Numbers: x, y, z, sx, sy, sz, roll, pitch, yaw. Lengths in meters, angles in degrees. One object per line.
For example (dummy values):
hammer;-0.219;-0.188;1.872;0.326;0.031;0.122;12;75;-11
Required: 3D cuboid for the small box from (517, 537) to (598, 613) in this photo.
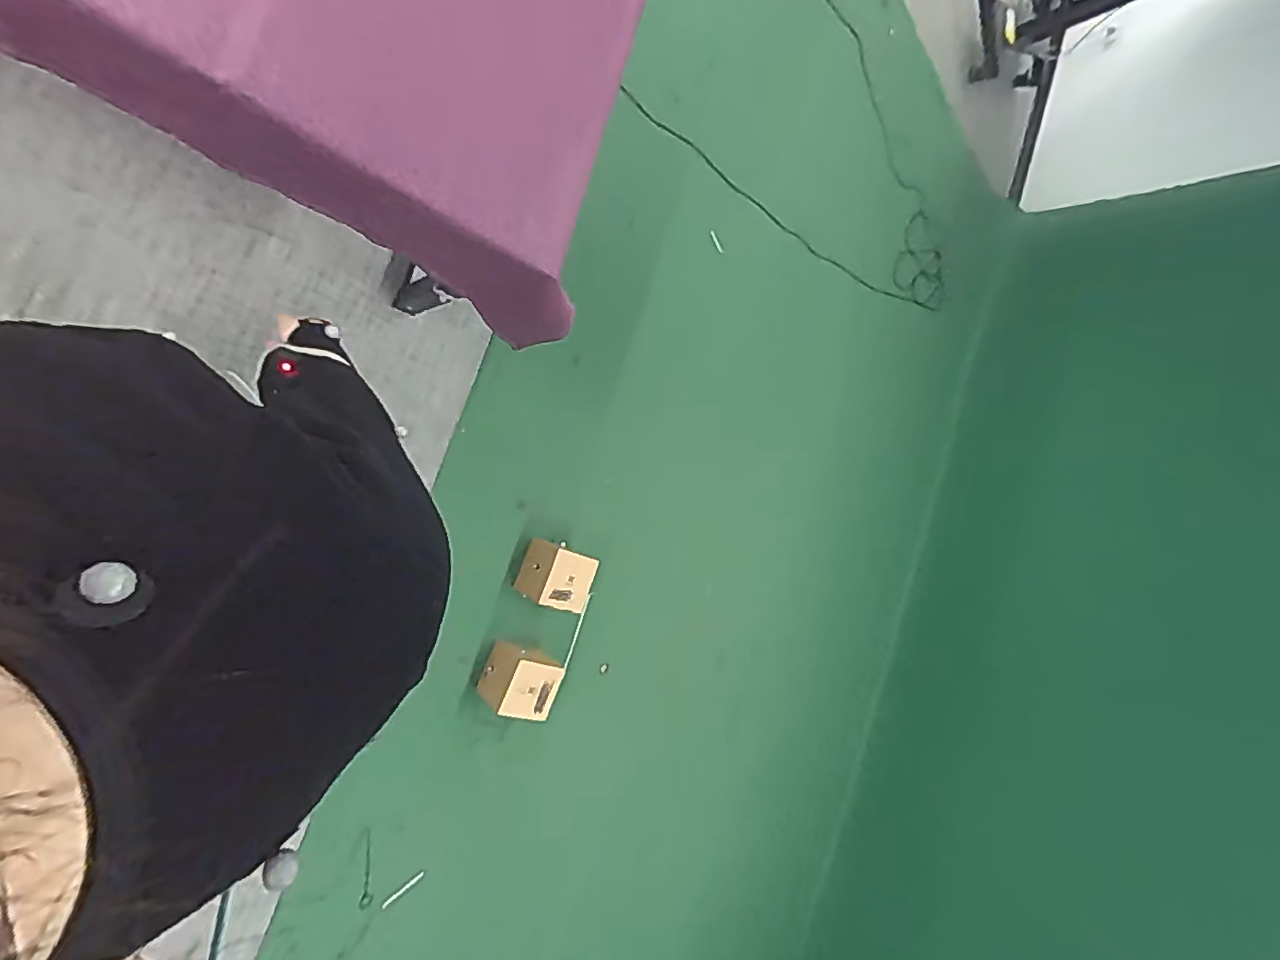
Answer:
small box;-0.266;0.297;1.705;0.168;0.176;0.179;26;79;-39
